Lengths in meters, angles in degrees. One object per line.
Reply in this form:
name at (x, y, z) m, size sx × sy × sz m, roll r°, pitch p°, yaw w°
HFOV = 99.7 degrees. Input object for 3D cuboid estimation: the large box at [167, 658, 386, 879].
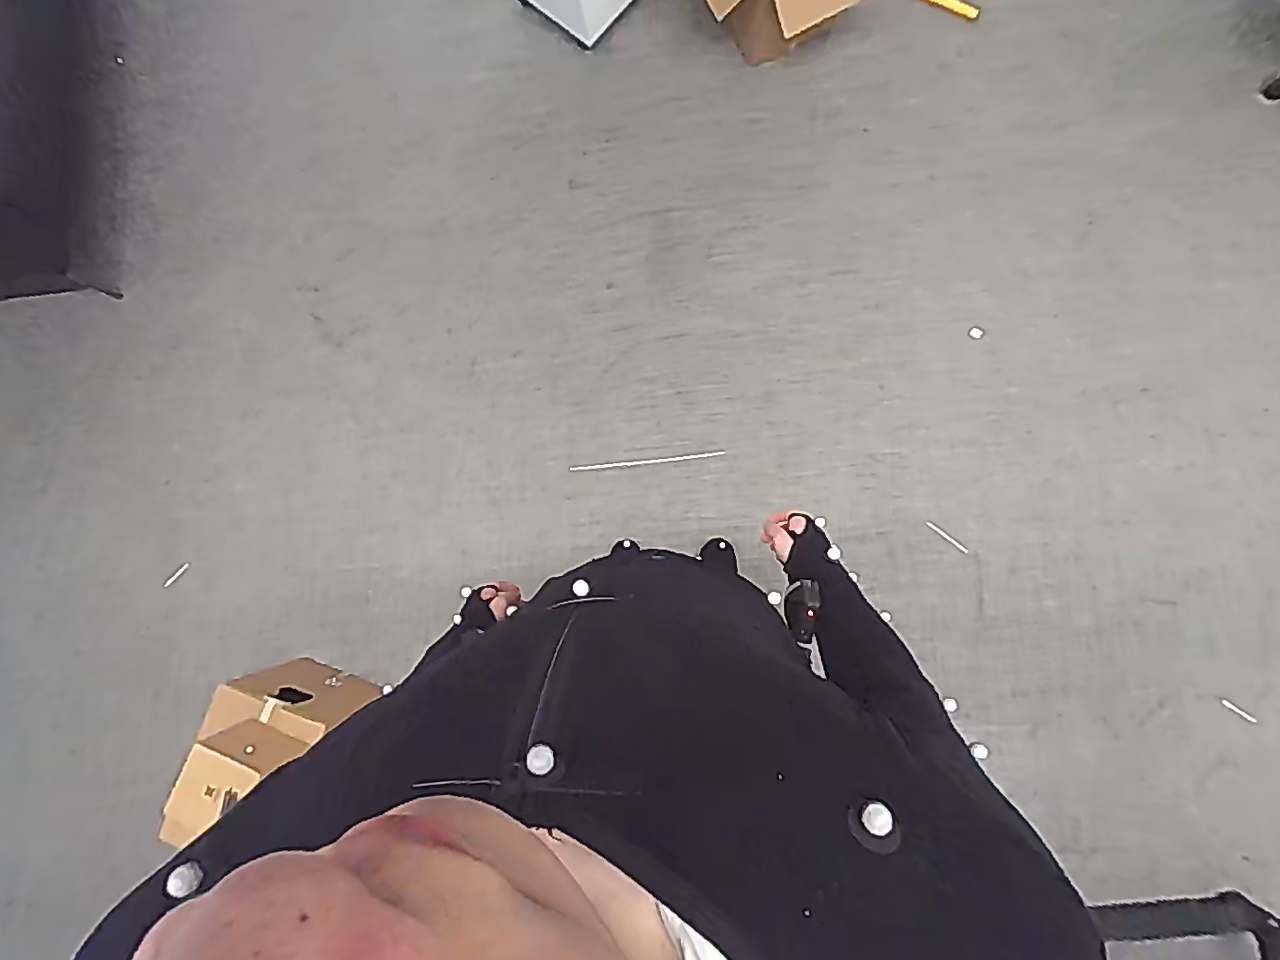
large box at (-0.978, 0.767, 1.505) m, size 0.320 × 0.320 × 0.408 m, roll 18°, pitch 86°, yaw 6°

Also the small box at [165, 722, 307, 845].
small box at (-0.928, 0.694, 1.262) m, size 0.179 × 0.176 × 0.168 m, roll 22°, pitch 86°, yaw 4°
